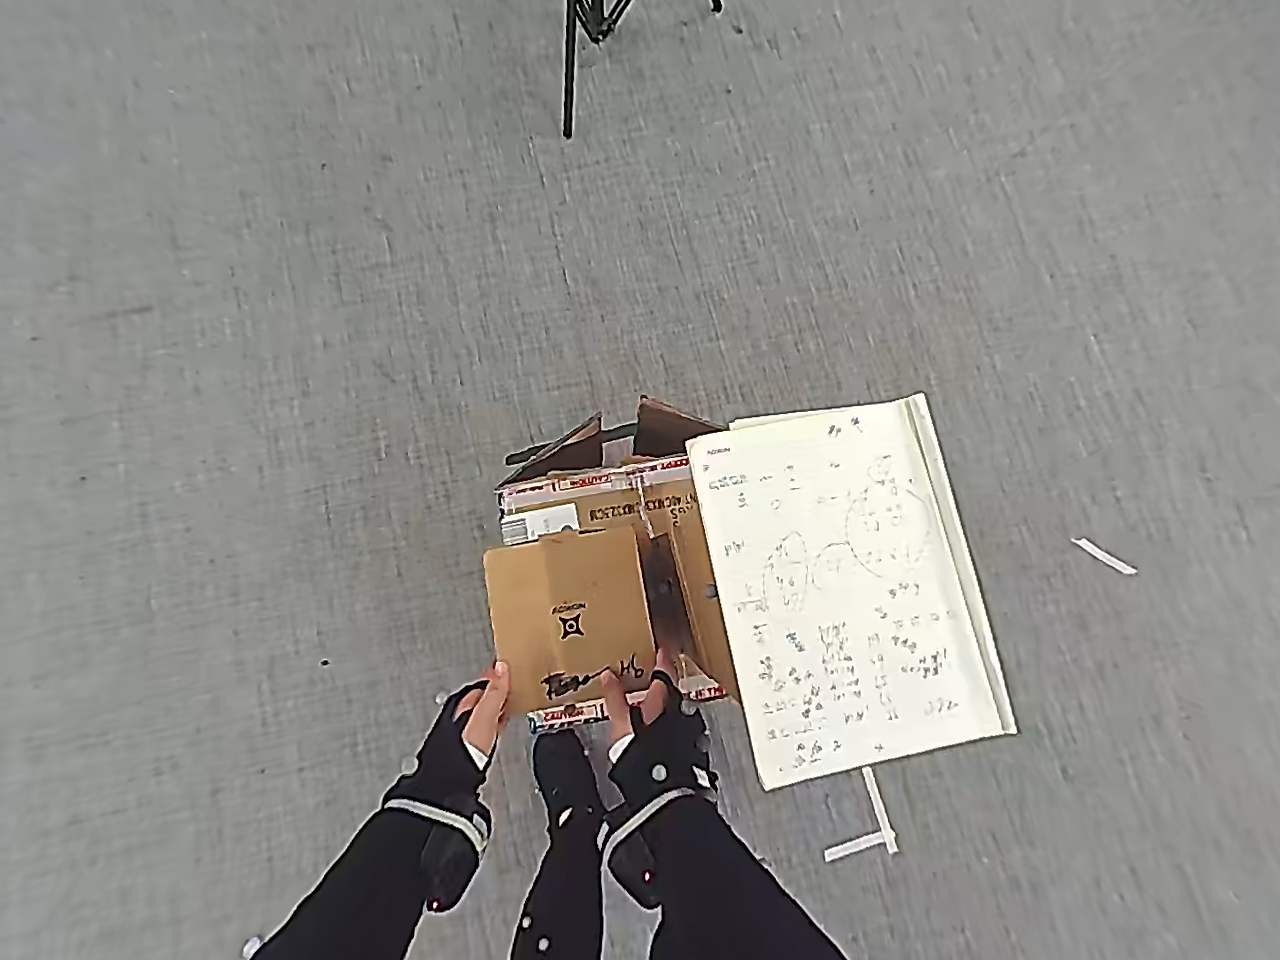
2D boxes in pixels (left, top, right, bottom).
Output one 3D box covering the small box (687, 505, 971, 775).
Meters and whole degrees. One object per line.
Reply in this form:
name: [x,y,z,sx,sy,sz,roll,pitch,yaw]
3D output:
small box: [0.148,0.129,0.489,0.168,0.176,0.179,-10,82,-7]
